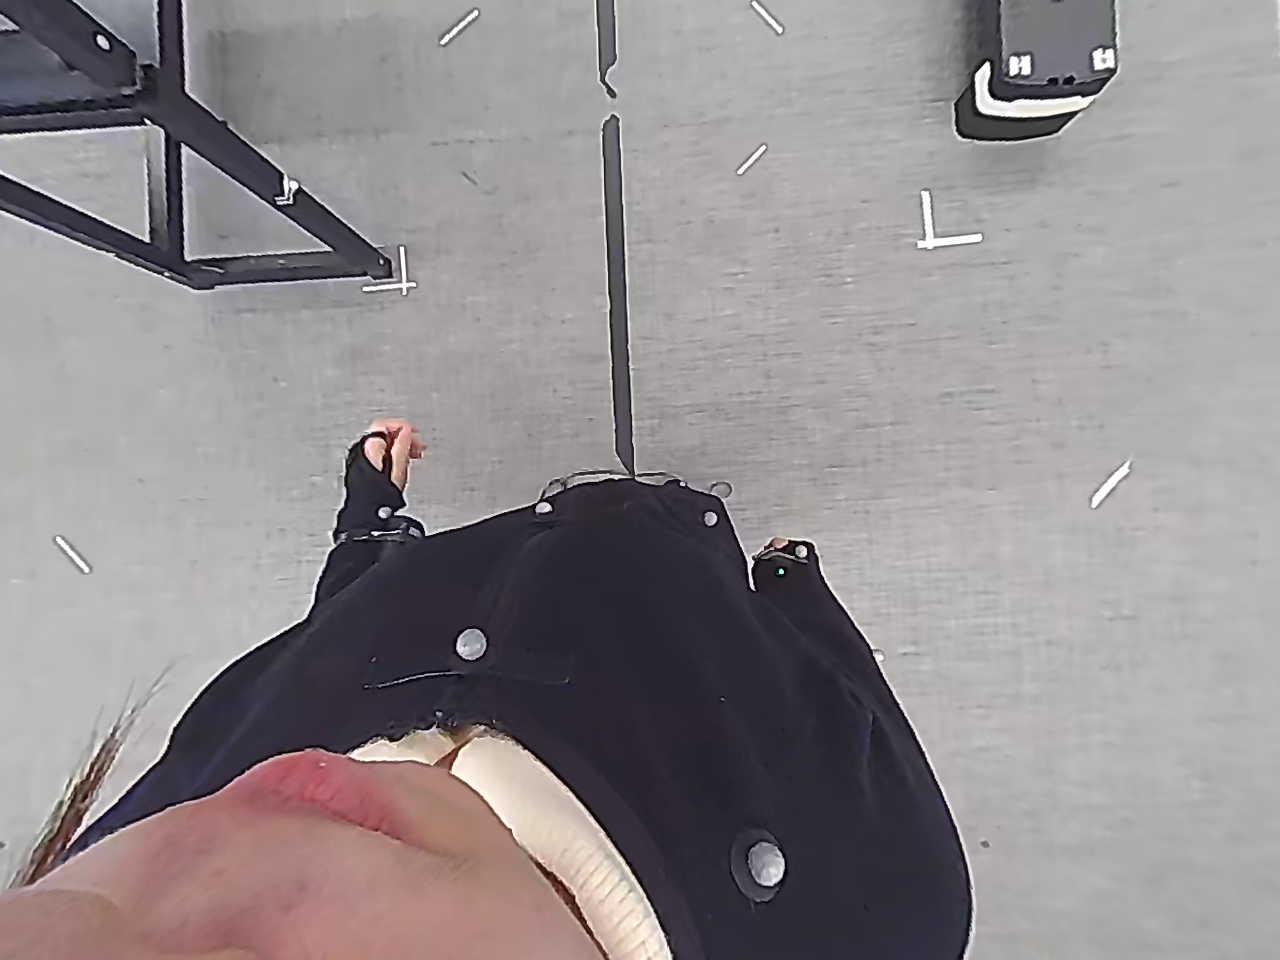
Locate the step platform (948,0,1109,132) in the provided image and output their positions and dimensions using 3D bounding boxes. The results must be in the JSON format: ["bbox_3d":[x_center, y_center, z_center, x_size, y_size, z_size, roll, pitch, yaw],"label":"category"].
[{"bbox_3d":[0.988,-1.284,1.373,0.286,0.204,0.684,3,89,2],"label":"step platform"}]
